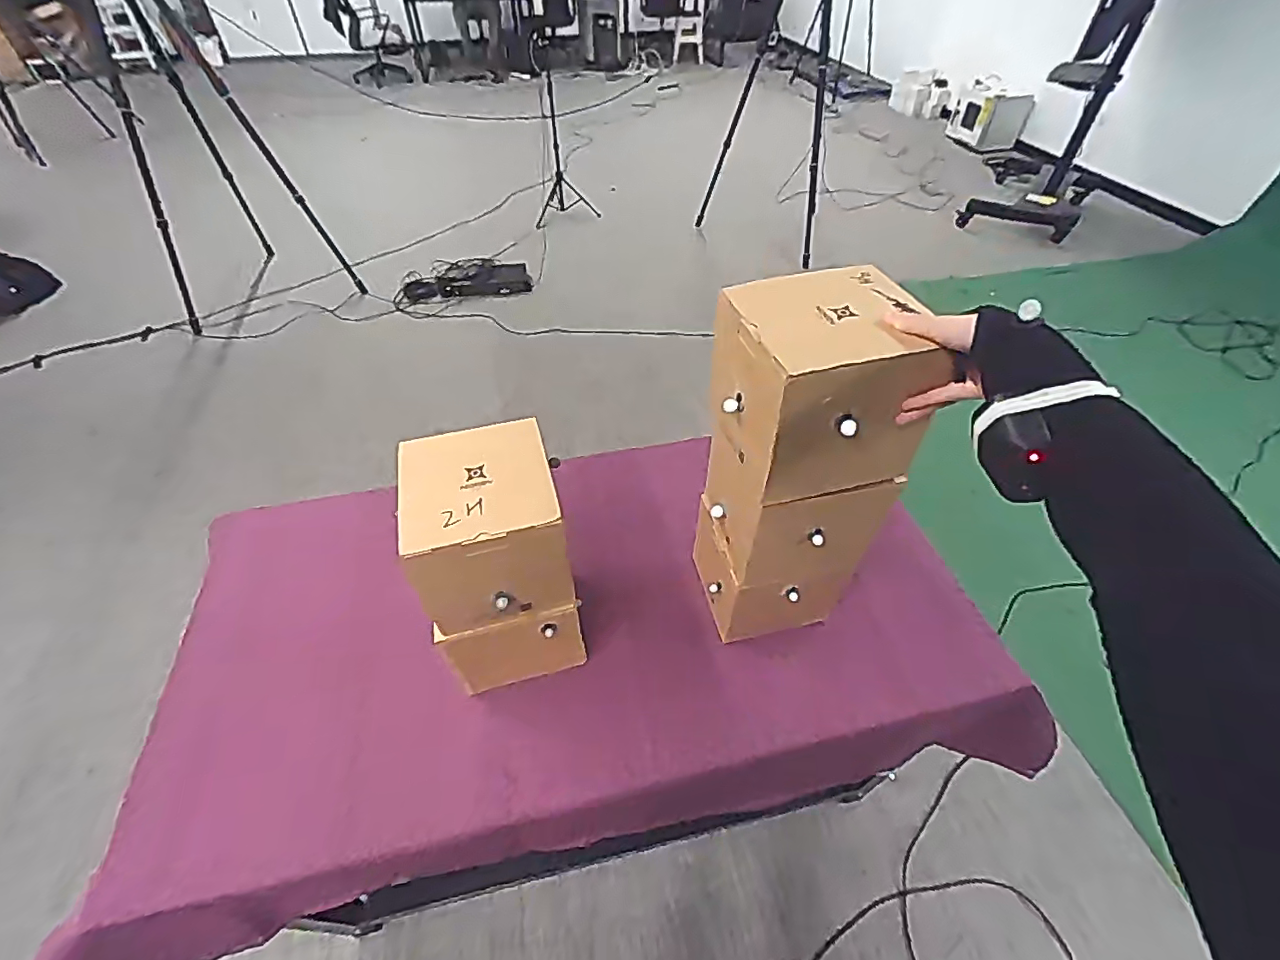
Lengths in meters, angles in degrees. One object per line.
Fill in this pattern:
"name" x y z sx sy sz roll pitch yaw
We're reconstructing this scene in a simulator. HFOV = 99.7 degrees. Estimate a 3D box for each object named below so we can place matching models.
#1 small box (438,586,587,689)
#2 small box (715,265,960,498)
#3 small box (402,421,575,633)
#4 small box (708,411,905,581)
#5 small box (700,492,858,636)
"small box" -0.182 0.177 0.779 0.179 0.176 0.168 -12 48 -12
"small box" 0.186 -0.101 0.575 0.179 0.176 0.168 -12 47 -7
"small box" -0.181 0.057 0.665 0.168 0.176 0.179 -13 48 -11
"small box" 0.198 0.009 0.703 0.179 0.176 0.168 -10 49 -7
"small box" 0.195 0.119 0.825 0.179 0.176 0.168 -9 49 -8
